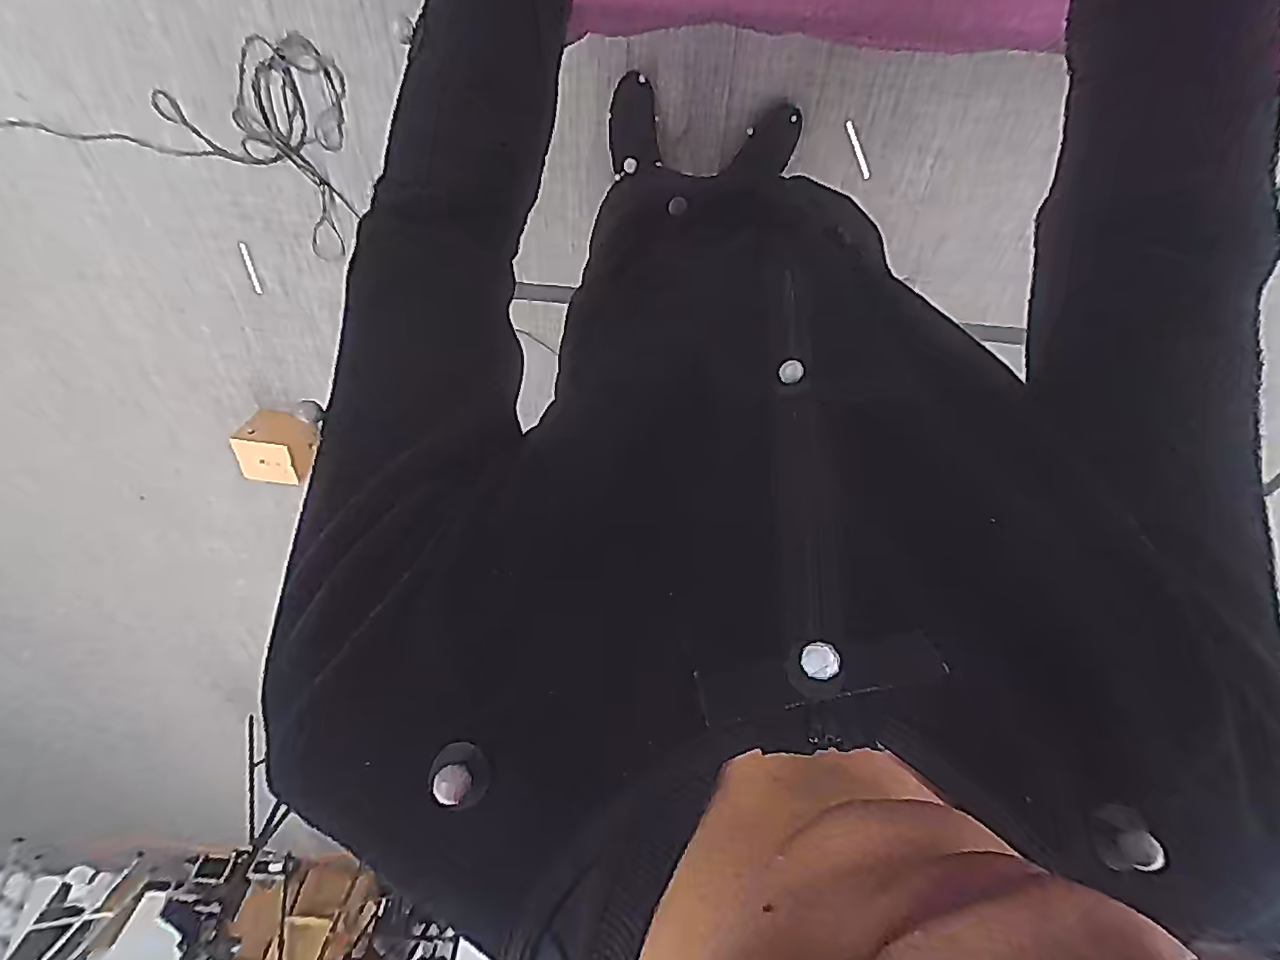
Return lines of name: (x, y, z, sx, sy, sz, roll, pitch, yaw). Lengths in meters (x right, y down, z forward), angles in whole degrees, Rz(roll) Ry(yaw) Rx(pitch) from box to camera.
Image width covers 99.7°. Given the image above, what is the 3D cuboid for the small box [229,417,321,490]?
small box: (-1.195, -0.092, 1.785, 0.179, 0.176, 0.168, 7, 129, -4)
